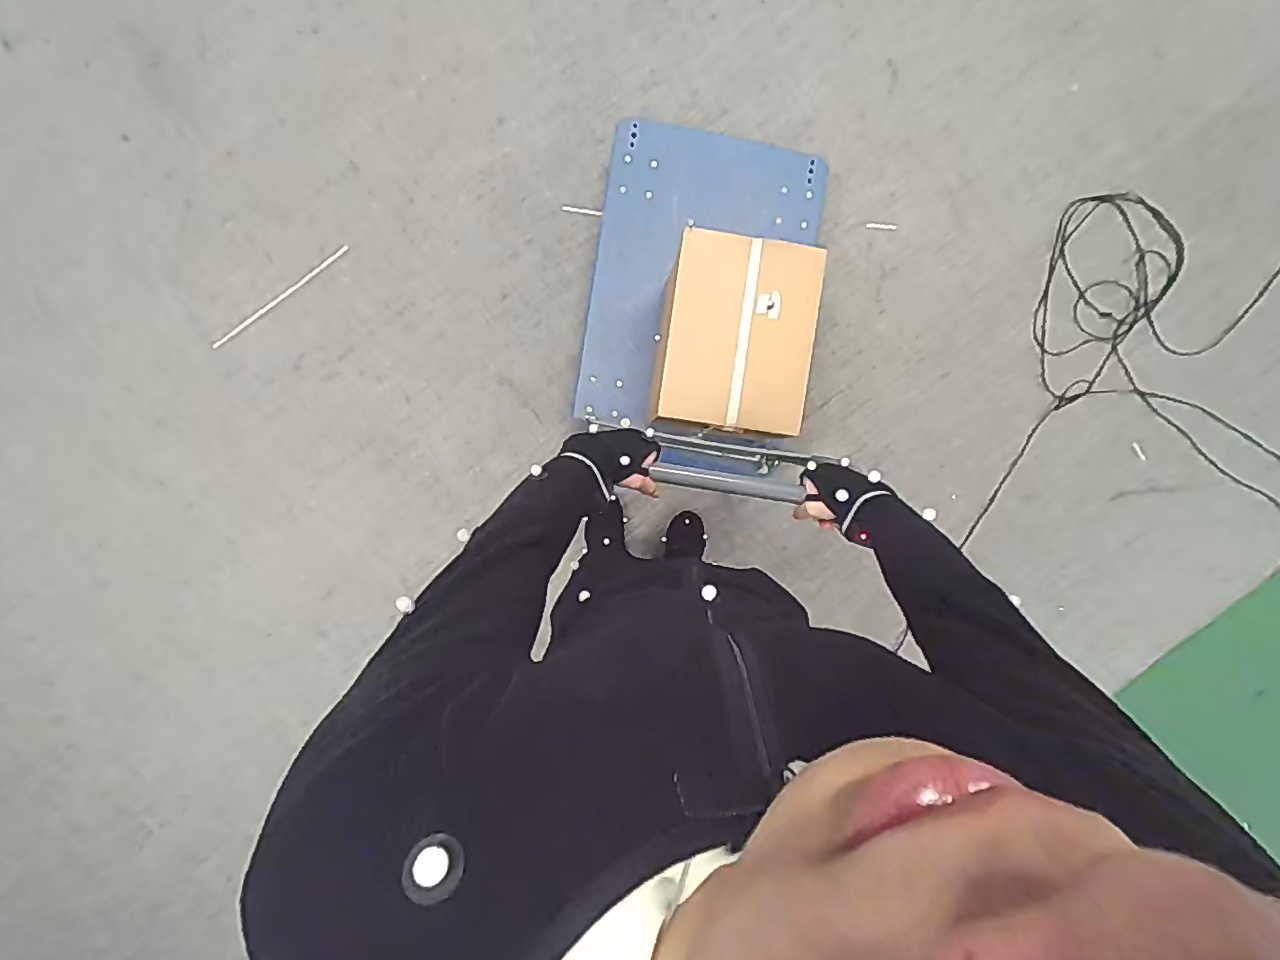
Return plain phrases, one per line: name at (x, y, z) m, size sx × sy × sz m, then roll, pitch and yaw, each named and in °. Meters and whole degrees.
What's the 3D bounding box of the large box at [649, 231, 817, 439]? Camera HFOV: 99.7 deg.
large box at (0.203, -0.321, 1.317) m, size 0.320 × 0.320 × 0.408 m, roll 8°, pitch 91°, yaw -4°
